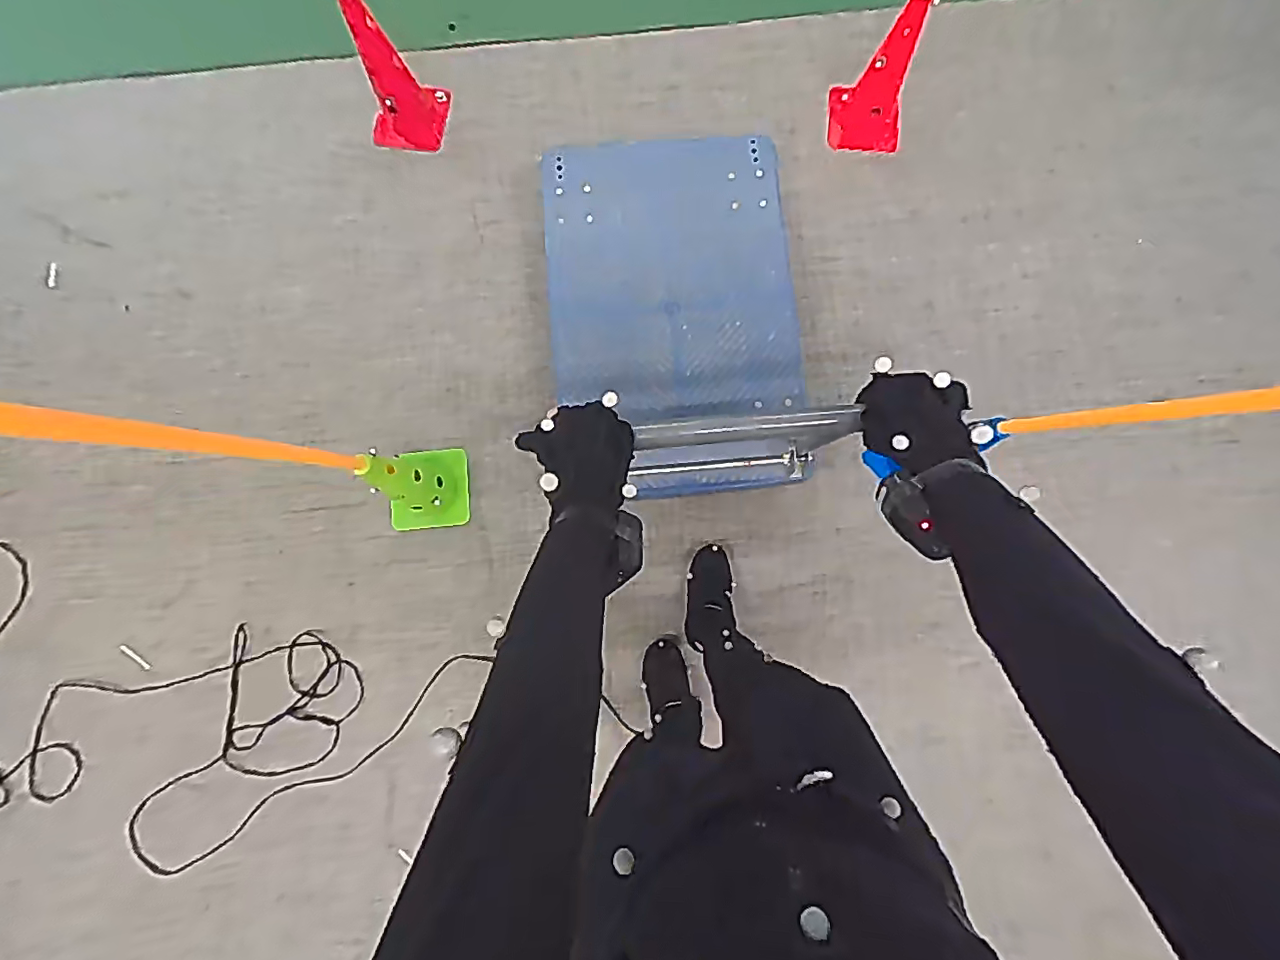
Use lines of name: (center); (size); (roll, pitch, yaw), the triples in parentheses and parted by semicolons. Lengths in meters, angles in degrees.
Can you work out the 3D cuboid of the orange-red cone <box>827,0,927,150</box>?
orange-red cone: (0.625, -1.046, 1.351); (0.198, 0.360, 0.199); (6, 83, 3)
